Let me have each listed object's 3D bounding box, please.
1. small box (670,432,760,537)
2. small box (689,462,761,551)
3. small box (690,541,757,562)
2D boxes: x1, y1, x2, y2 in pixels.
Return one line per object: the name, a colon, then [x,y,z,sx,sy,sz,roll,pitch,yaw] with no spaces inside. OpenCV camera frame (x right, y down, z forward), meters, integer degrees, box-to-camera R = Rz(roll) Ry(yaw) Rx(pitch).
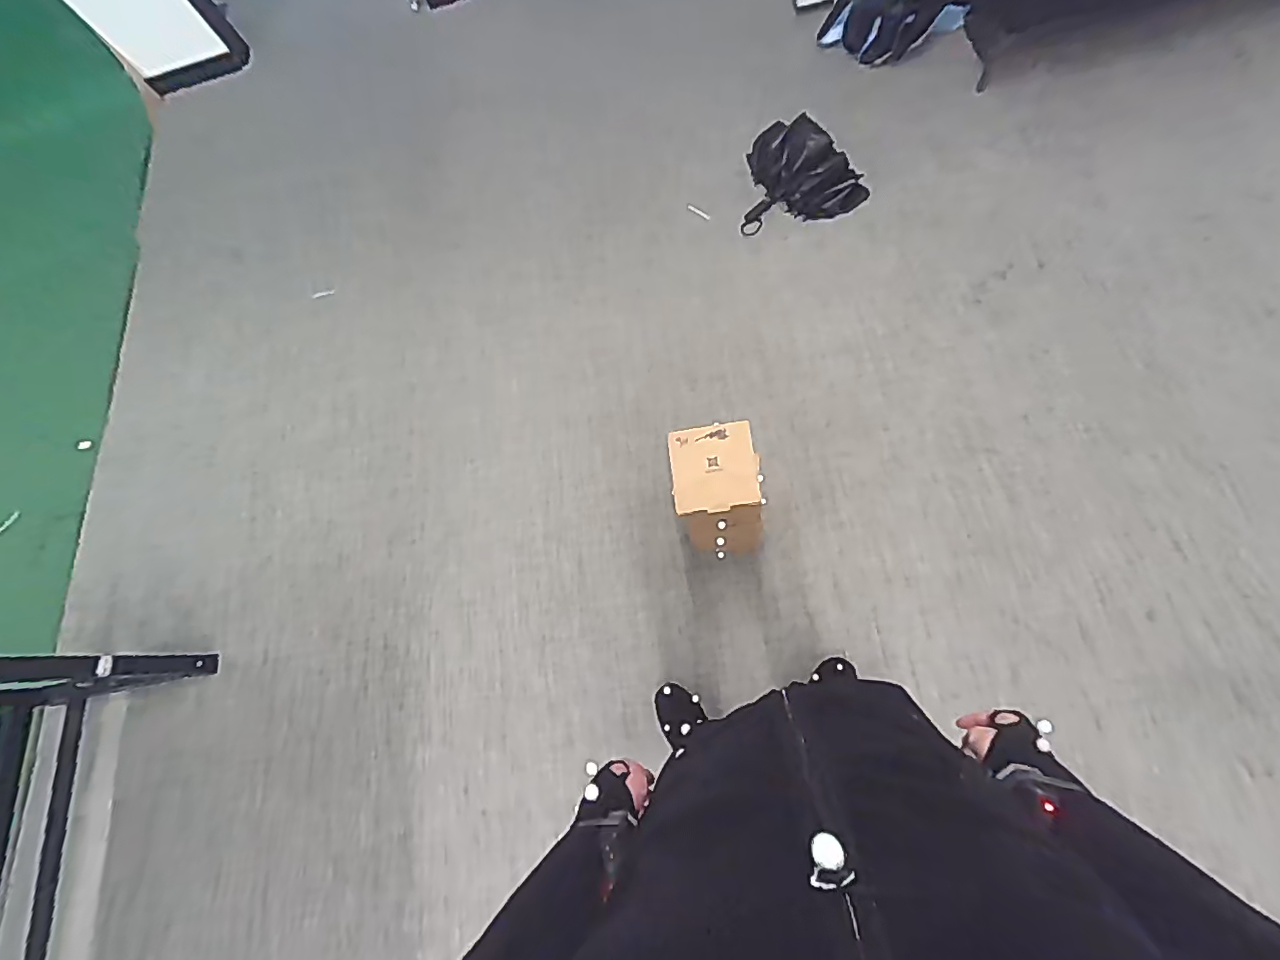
small box: [0.160,0.018,1.136,0.168,0.176,0.179,-7,71,9]
small box: [0.199,0.063,1.288,0.168,0.176,0.179,1,73,12]
small box: [0.225,0.115,1.442,0.168,0.176,0.179,0,73,11]
